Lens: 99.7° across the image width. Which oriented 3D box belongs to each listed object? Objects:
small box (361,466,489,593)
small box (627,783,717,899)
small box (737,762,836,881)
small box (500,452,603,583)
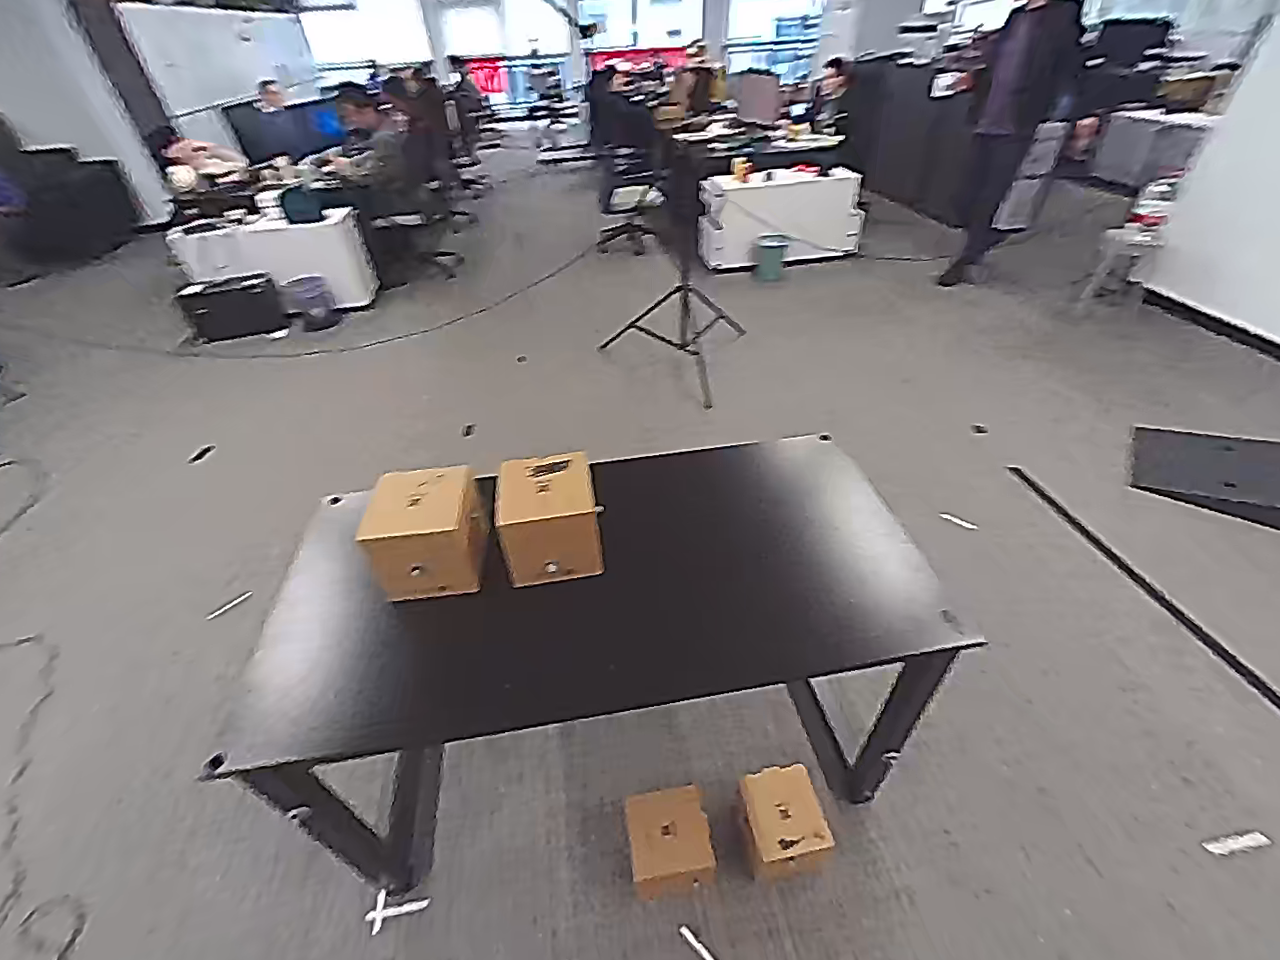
[{"bbox_3d":[-0.388,0.097,1.013,0.168,0.176,0.179,-5,40,-4],"label":"small box"},{"bbox_3d":[0.071,0.831,1.244,0.179,0.176,0.168,-9,40,-5],"label":"small box"},{"bbox_3d":[0.330,0.796,1.263,0.168,0.176,0.179,-9,40,-5],"label":"small box"},{"bbox_3d":[-0.165,0.070,1.029,0.168,0.176,0.179,-8,41,-5],"label":"small box"}]
